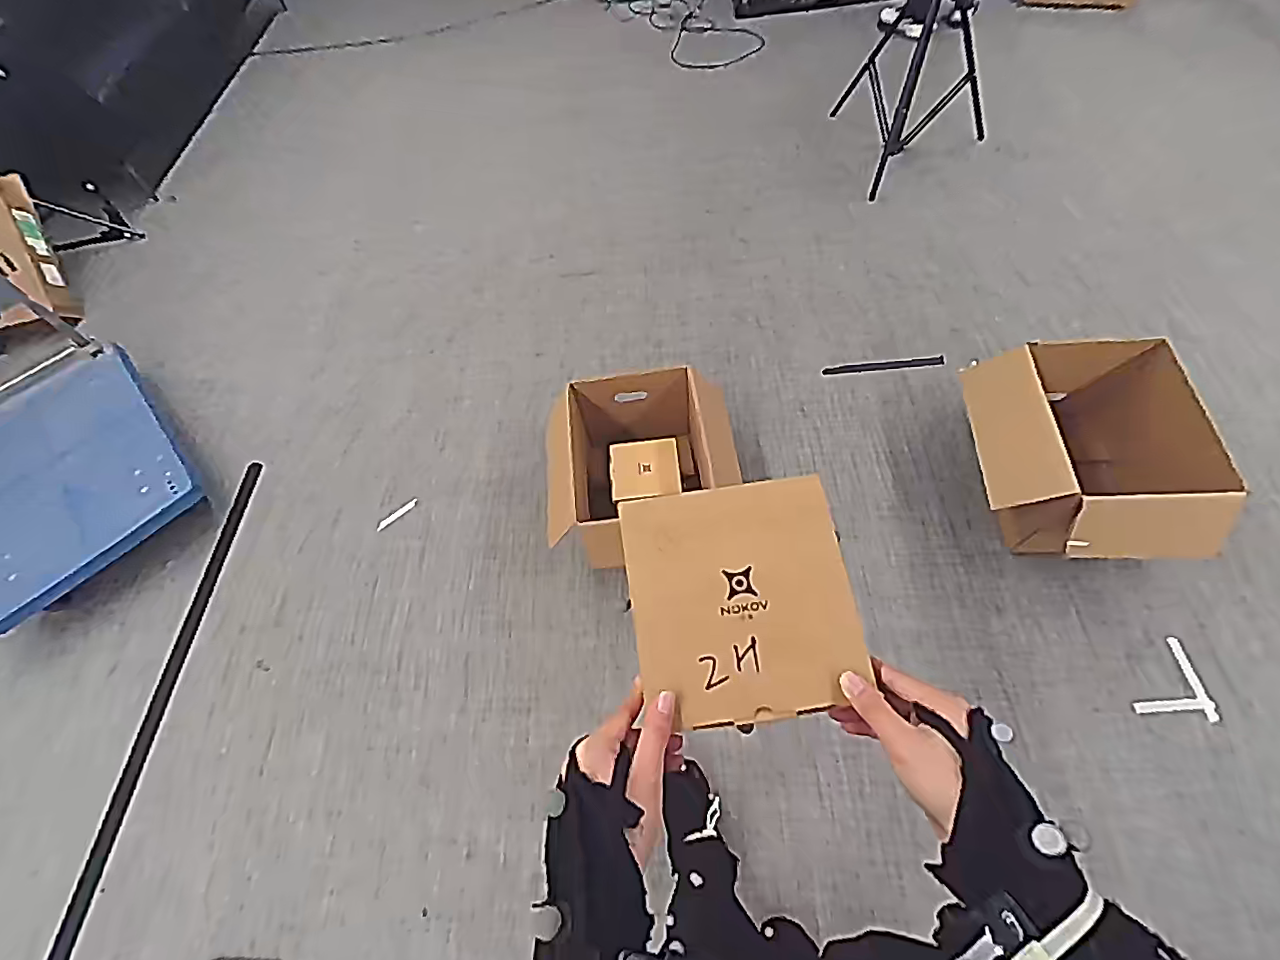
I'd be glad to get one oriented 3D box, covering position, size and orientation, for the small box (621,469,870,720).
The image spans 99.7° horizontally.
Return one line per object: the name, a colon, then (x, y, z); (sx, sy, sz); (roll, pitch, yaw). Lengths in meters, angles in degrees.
small box: (0.075, 0.109, 0.486); (0.168, 0.176, 0.179); (-8, 69, 0)
